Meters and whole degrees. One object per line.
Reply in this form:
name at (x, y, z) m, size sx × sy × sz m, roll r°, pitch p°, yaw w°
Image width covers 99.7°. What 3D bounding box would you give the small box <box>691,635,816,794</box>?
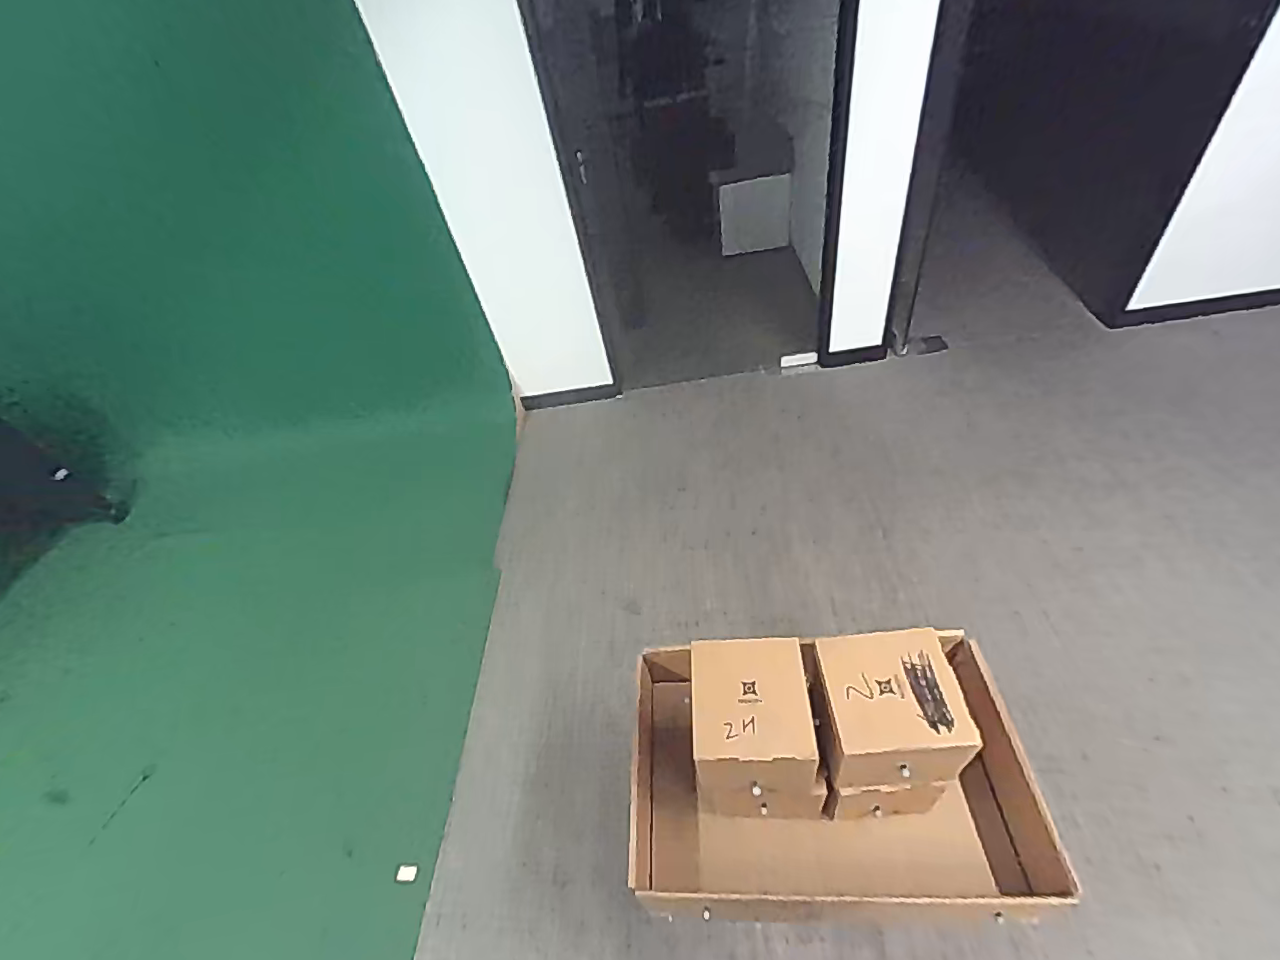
small box at (0.167, 0.359, 0.829) m, size 0.168 × 0.176 × 0.179 m, roll -5°, pitch 46°, yaw 9°
